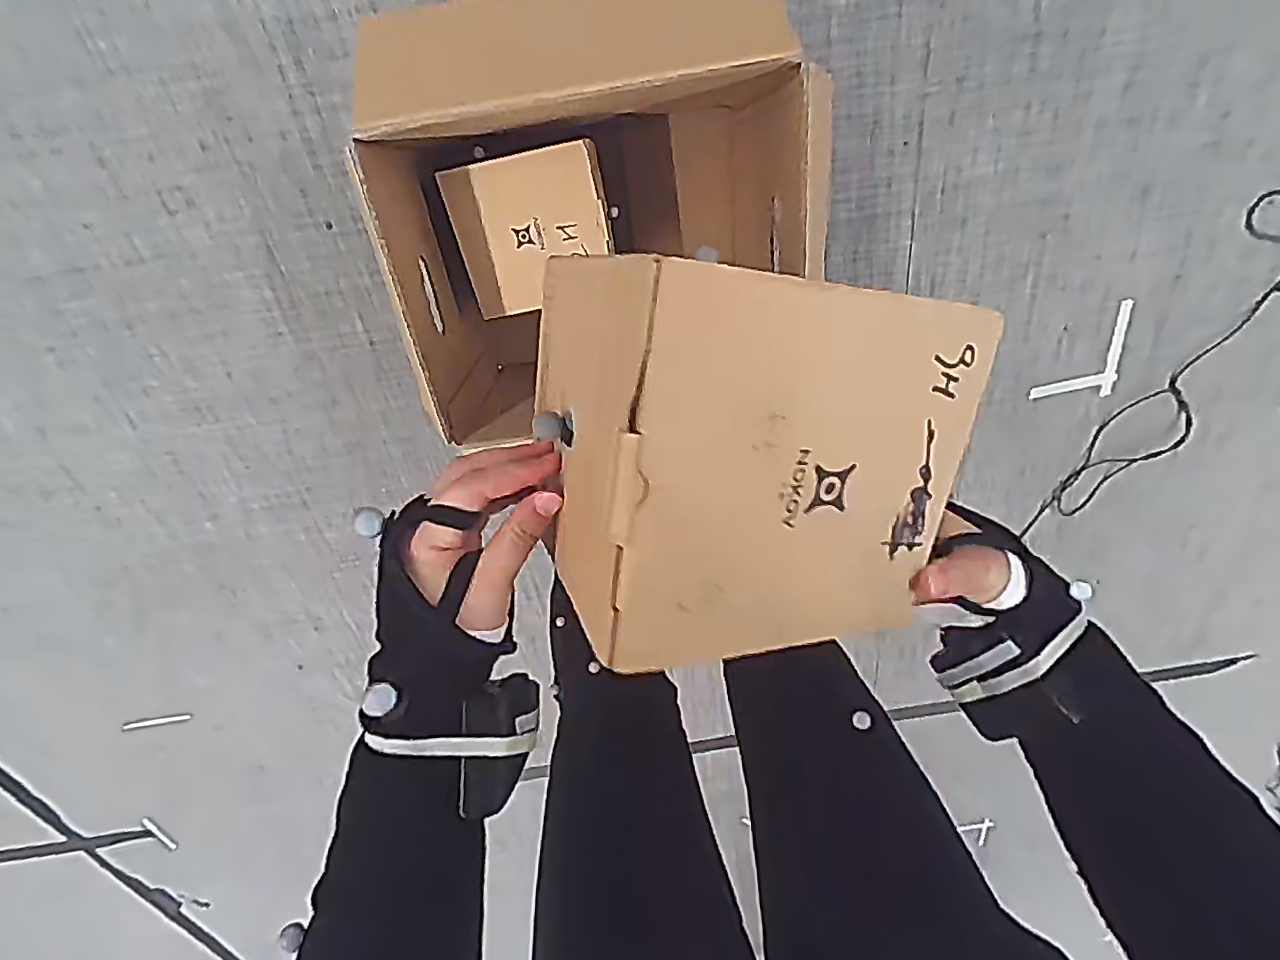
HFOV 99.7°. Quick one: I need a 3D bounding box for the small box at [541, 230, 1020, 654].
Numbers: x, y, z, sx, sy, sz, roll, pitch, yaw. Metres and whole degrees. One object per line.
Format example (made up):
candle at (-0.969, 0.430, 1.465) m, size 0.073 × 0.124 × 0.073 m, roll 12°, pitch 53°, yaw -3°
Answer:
small box at (0.047, -0.030, 0.299) m, size 0.179 × 0.176 × 0.168 m, roll 0°, pitch 111°, yaw -22°
